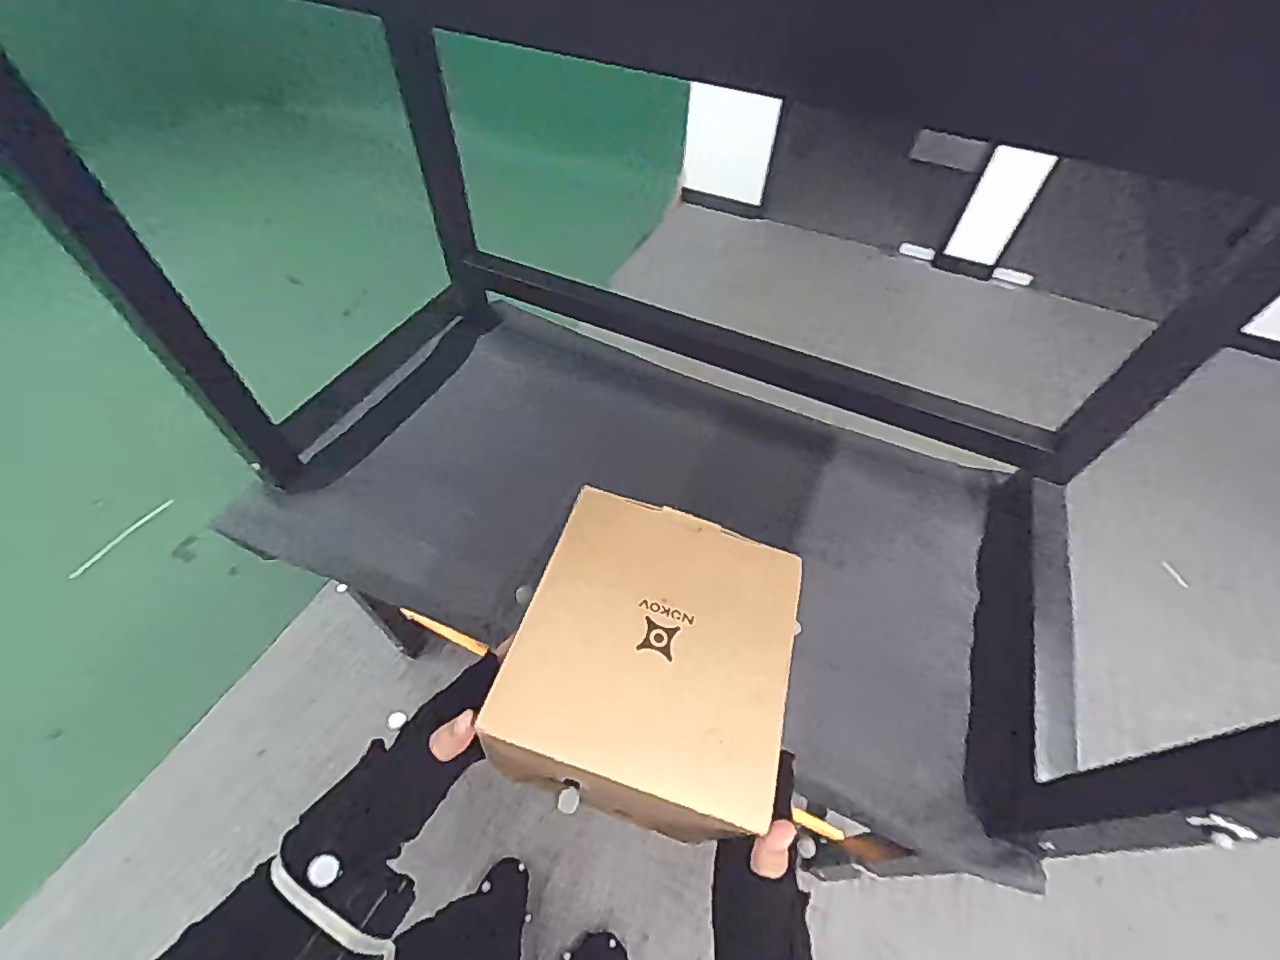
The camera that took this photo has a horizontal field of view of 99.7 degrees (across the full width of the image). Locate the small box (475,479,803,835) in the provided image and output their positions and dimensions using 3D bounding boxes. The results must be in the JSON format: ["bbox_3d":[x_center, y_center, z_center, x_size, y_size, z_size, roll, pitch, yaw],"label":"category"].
[{"bbox_3d":[0.002,0.135,0.395,0.168,0.176,0.179,18,52,3],"label":"small box"}]
